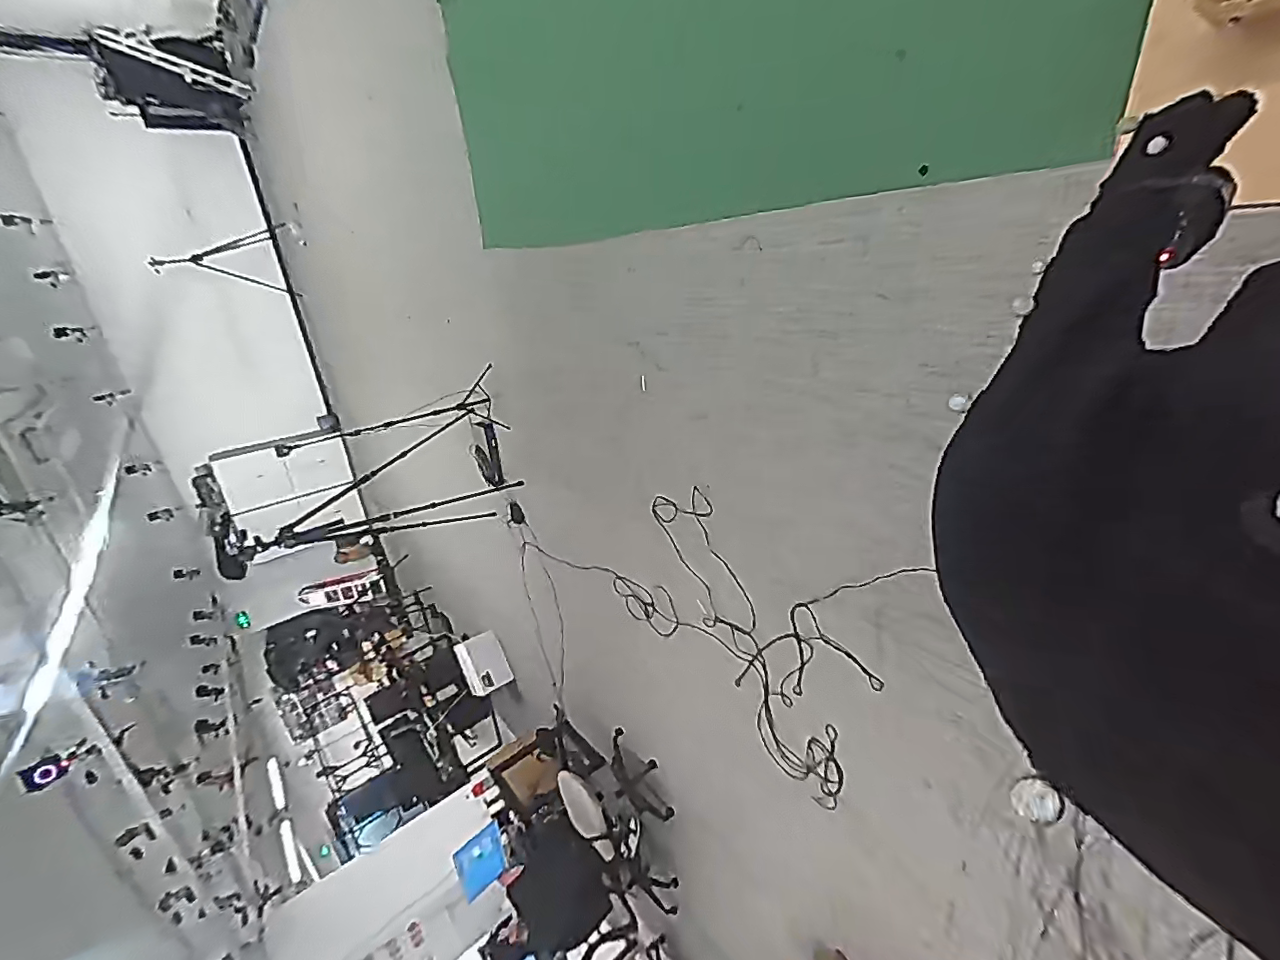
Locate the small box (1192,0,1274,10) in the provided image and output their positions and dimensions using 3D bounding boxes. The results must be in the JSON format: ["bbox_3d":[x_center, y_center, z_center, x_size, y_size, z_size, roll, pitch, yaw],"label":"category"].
[{"bbox_3d":[0.940,-0.802,0.765,0.168,0.176,0.179,26,127,46],"label":"small box"}]
